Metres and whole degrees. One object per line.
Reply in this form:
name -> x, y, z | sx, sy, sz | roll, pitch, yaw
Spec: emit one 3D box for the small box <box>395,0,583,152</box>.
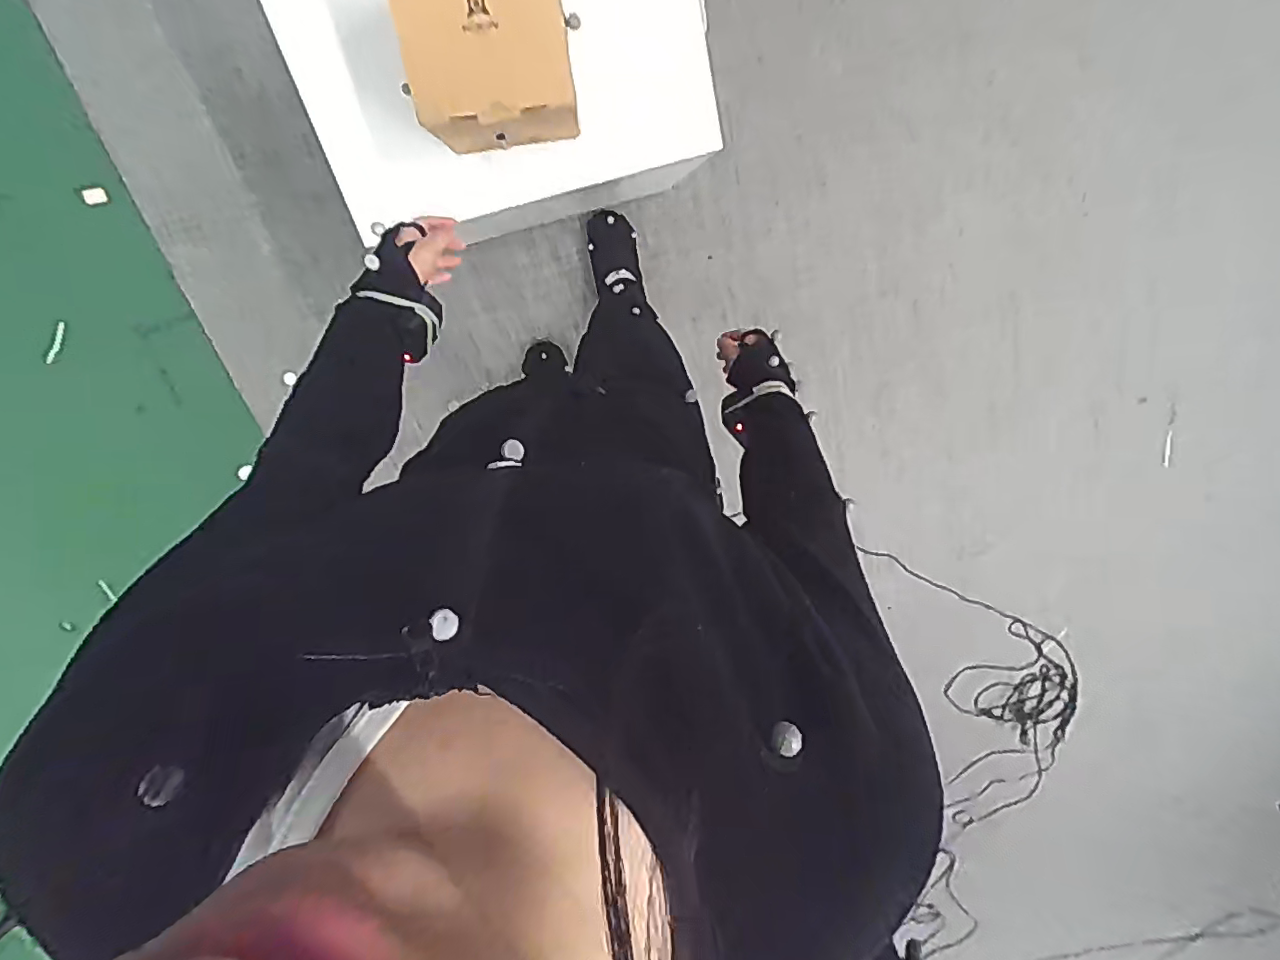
small box -> -0.158, -0.485, 0.594 | 0.168, 0.176, 0.179 | -9, 113, -1
